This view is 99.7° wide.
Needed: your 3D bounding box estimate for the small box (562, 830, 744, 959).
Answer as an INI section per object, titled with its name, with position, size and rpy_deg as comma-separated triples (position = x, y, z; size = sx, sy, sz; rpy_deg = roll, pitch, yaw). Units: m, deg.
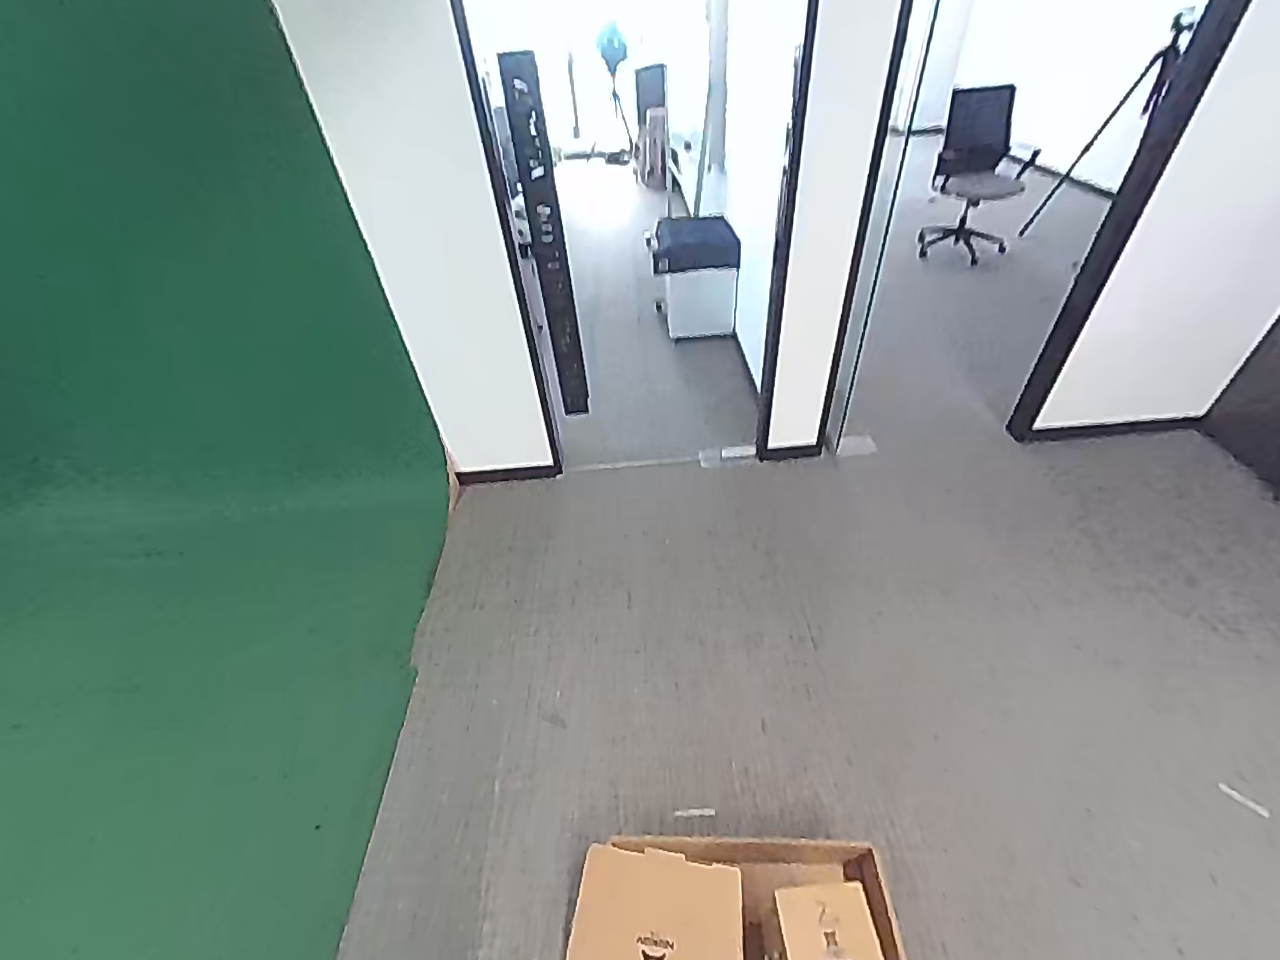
[small box]
position = 0.012, 0.495, 0.538
size = 0.168, 0.176, 0.179
rpy_deg = 4, 31, 8
